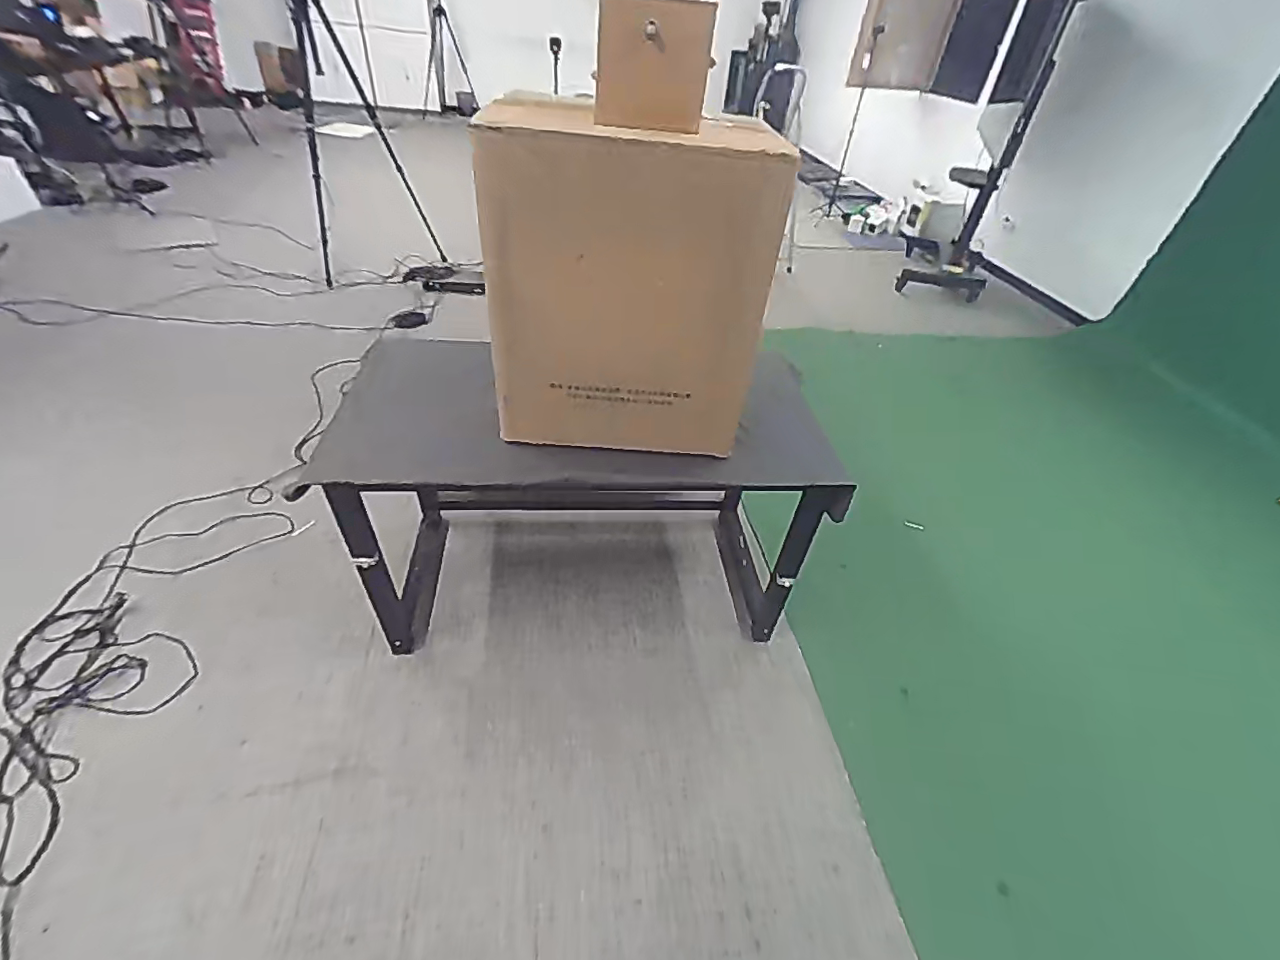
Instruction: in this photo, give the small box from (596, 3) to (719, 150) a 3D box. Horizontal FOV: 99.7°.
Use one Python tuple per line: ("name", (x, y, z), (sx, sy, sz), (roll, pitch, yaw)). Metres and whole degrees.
("small box", (0.021, -0.662, 0.893), (0.179, 0.176, 0.168), (3, 43, -4))
